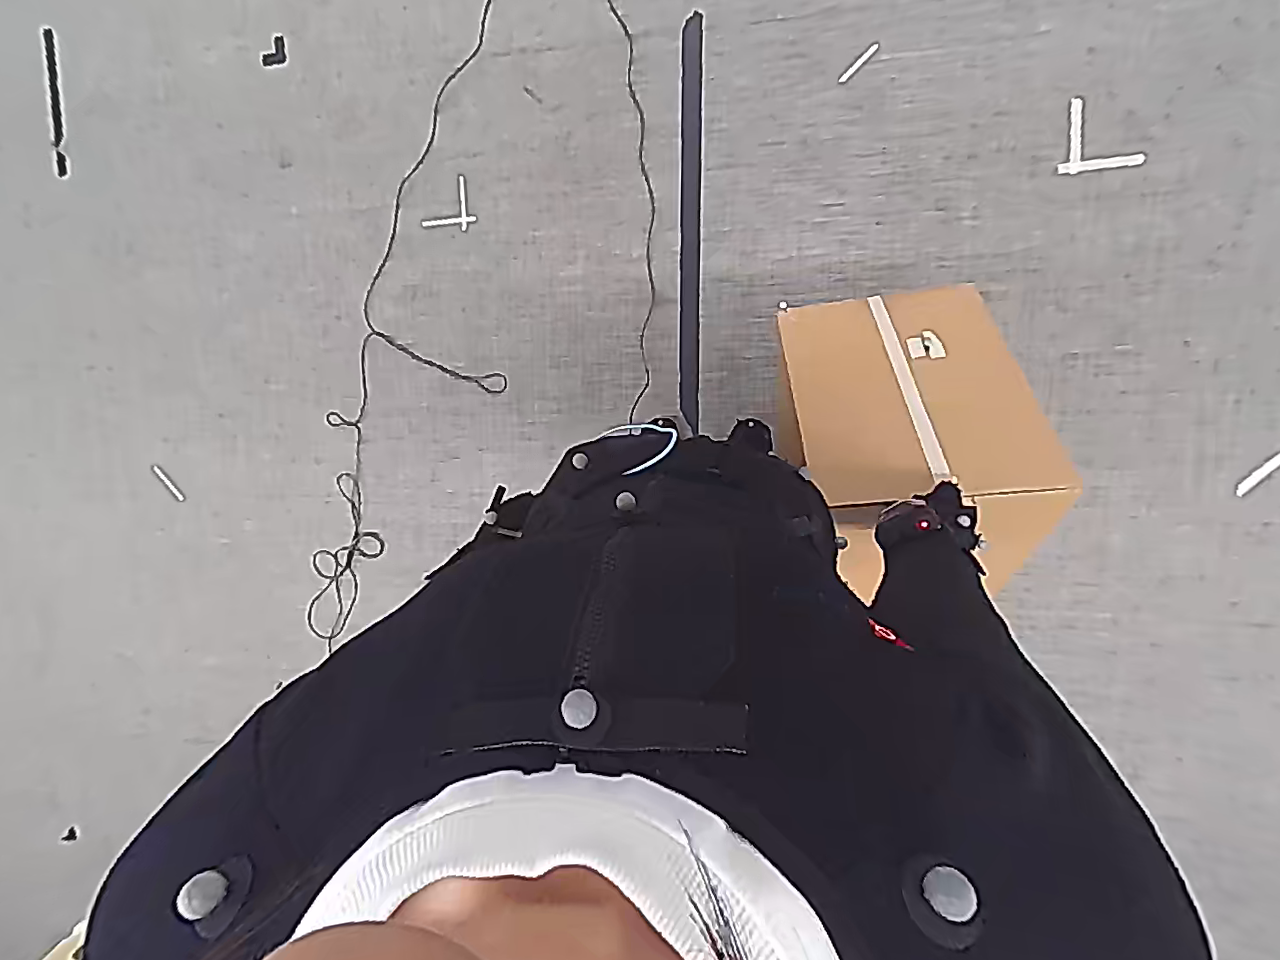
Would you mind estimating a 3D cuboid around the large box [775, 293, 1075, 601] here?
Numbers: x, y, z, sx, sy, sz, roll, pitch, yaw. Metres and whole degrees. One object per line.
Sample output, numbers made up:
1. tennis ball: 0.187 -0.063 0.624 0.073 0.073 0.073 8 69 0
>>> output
1. large box: 0.413 -0.049 0.917 0.320 0.320 0.408 -5 53 8
